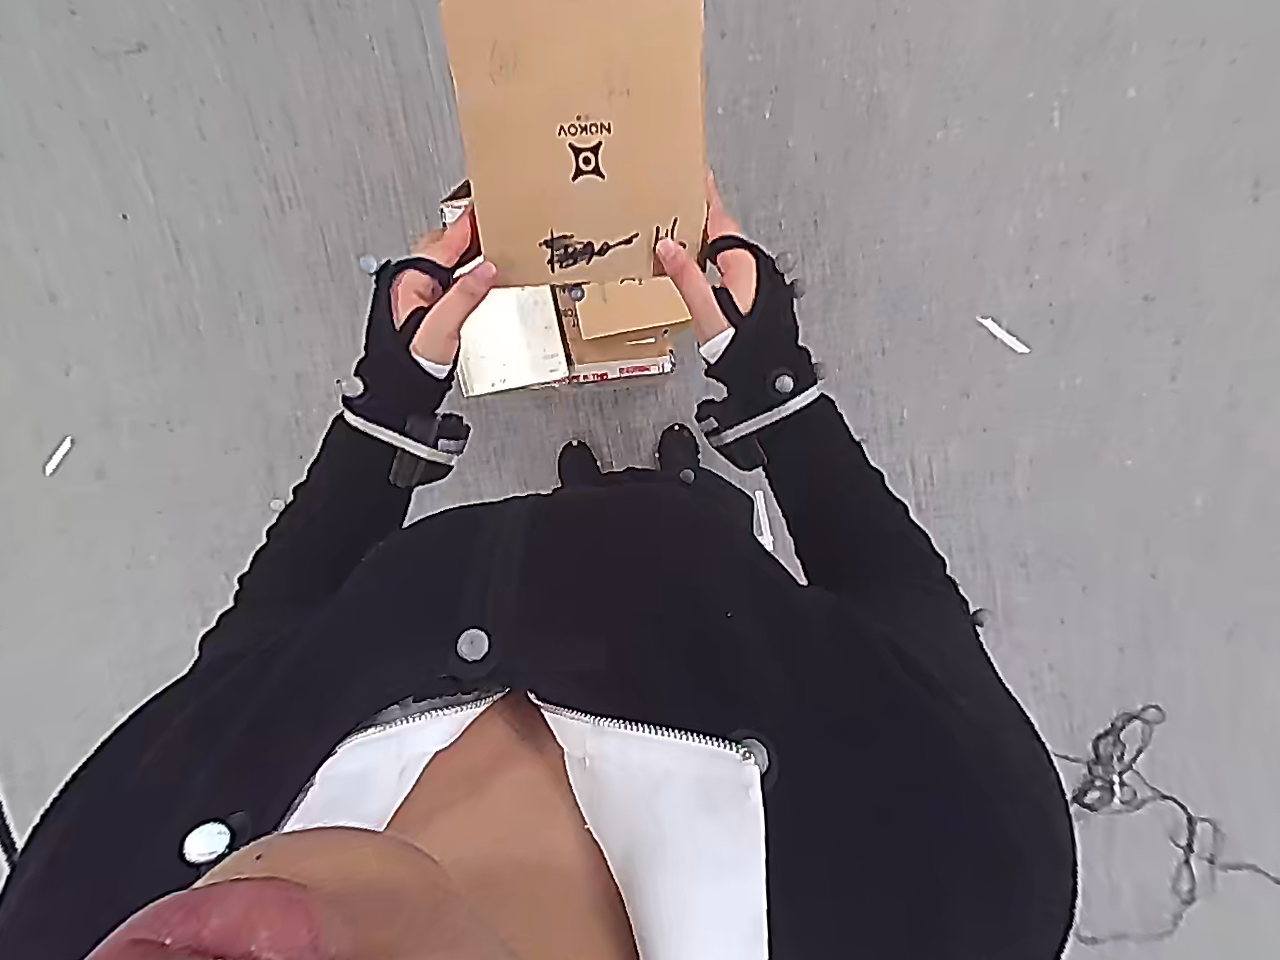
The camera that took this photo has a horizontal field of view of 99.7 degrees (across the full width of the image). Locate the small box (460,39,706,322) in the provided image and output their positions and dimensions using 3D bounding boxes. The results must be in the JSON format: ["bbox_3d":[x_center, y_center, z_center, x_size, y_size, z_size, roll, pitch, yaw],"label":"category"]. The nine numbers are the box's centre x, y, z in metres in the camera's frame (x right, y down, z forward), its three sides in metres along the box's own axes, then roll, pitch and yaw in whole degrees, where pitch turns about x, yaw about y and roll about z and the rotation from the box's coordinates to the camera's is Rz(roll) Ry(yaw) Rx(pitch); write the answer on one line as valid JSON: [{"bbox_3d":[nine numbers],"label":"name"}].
[{"bbox_3d":[-0.042,-0.237,0.459,0.168,0.176,0.179,-5,114,-4],"label":"small box"}]

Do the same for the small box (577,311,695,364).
[{"bbox_3d":[-0.016,-0.295,0.901,0.179,0.176,0.168,-11,97,1],"label":"small box"}]
